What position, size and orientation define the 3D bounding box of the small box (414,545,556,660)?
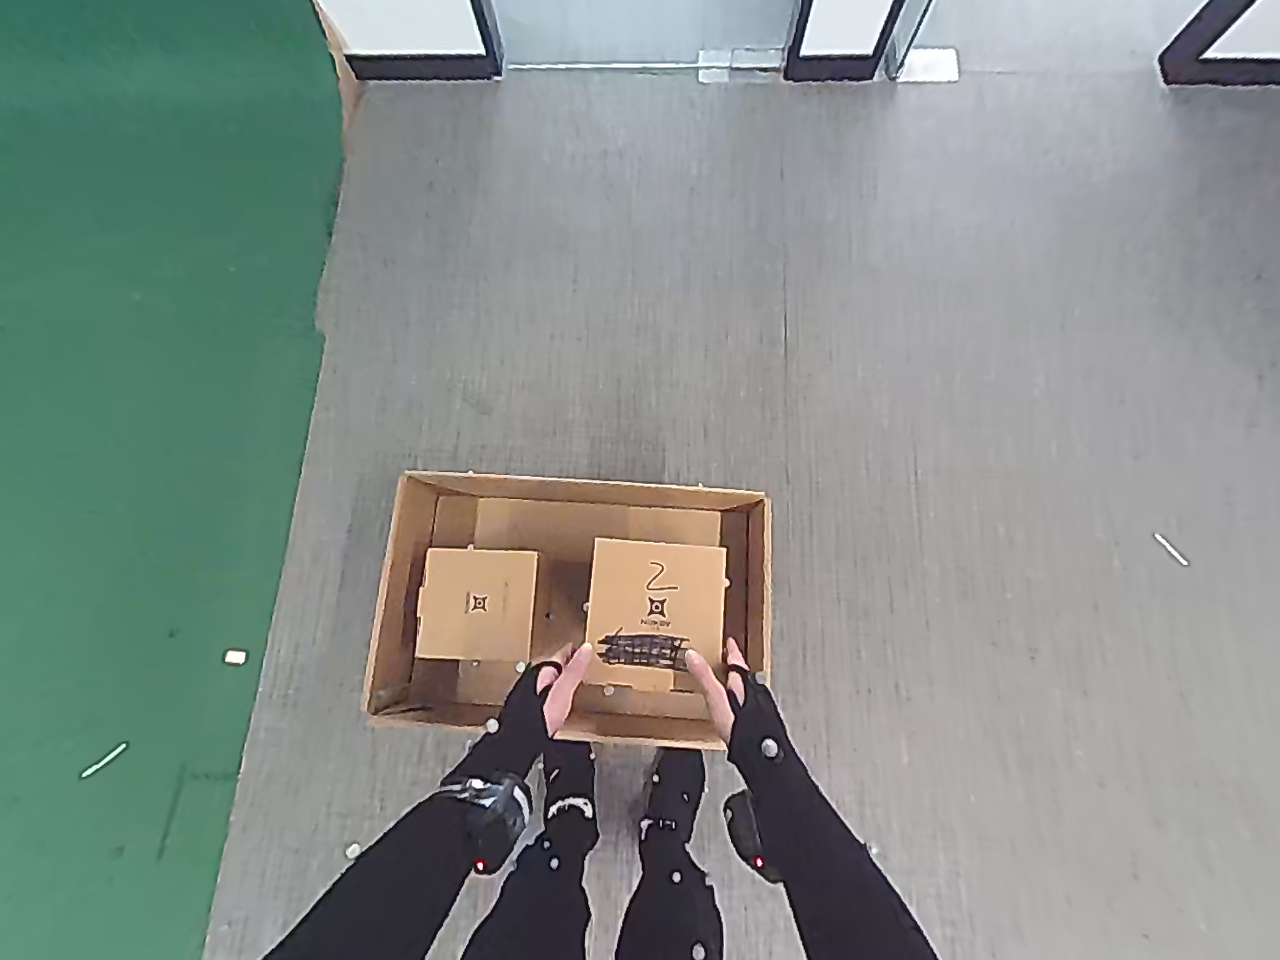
[{"bbox_3d":[-0.246,0.203,0.898,0.179,0.176,0.168,2,77,1],"label":"small box"}]
